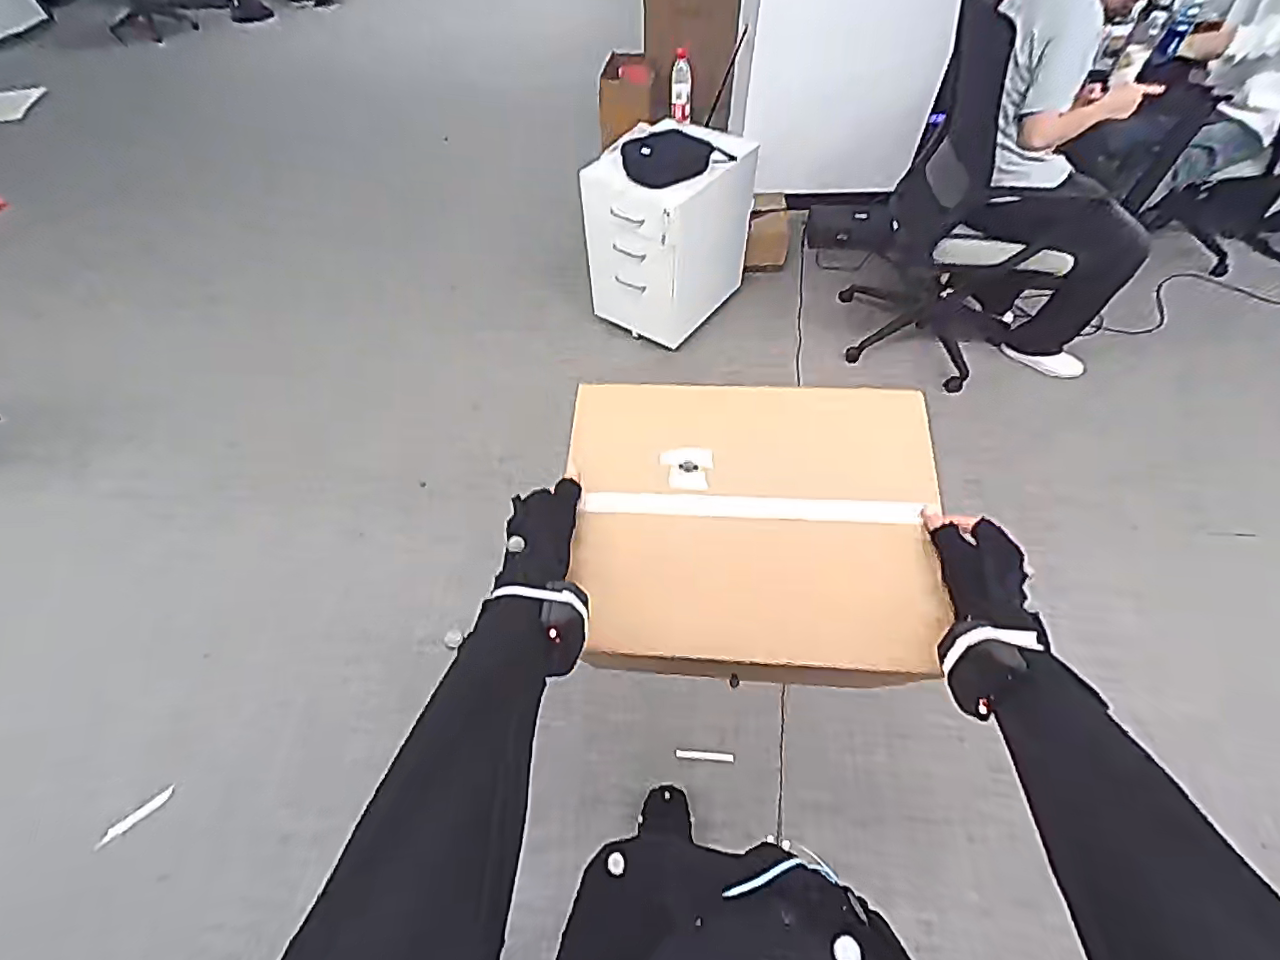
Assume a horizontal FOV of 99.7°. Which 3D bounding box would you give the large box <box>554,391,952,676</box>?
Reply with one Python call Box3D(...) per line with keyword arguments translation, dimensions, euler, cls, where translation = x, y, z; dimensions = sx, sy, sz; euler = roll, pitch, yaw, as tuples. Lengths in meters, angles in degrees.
Box3D(translation=(0.132, 0.090, 0.736), dimensions=(0.408, 0.320, 0.320), euler=(2, 66, 7), cls="large box")
